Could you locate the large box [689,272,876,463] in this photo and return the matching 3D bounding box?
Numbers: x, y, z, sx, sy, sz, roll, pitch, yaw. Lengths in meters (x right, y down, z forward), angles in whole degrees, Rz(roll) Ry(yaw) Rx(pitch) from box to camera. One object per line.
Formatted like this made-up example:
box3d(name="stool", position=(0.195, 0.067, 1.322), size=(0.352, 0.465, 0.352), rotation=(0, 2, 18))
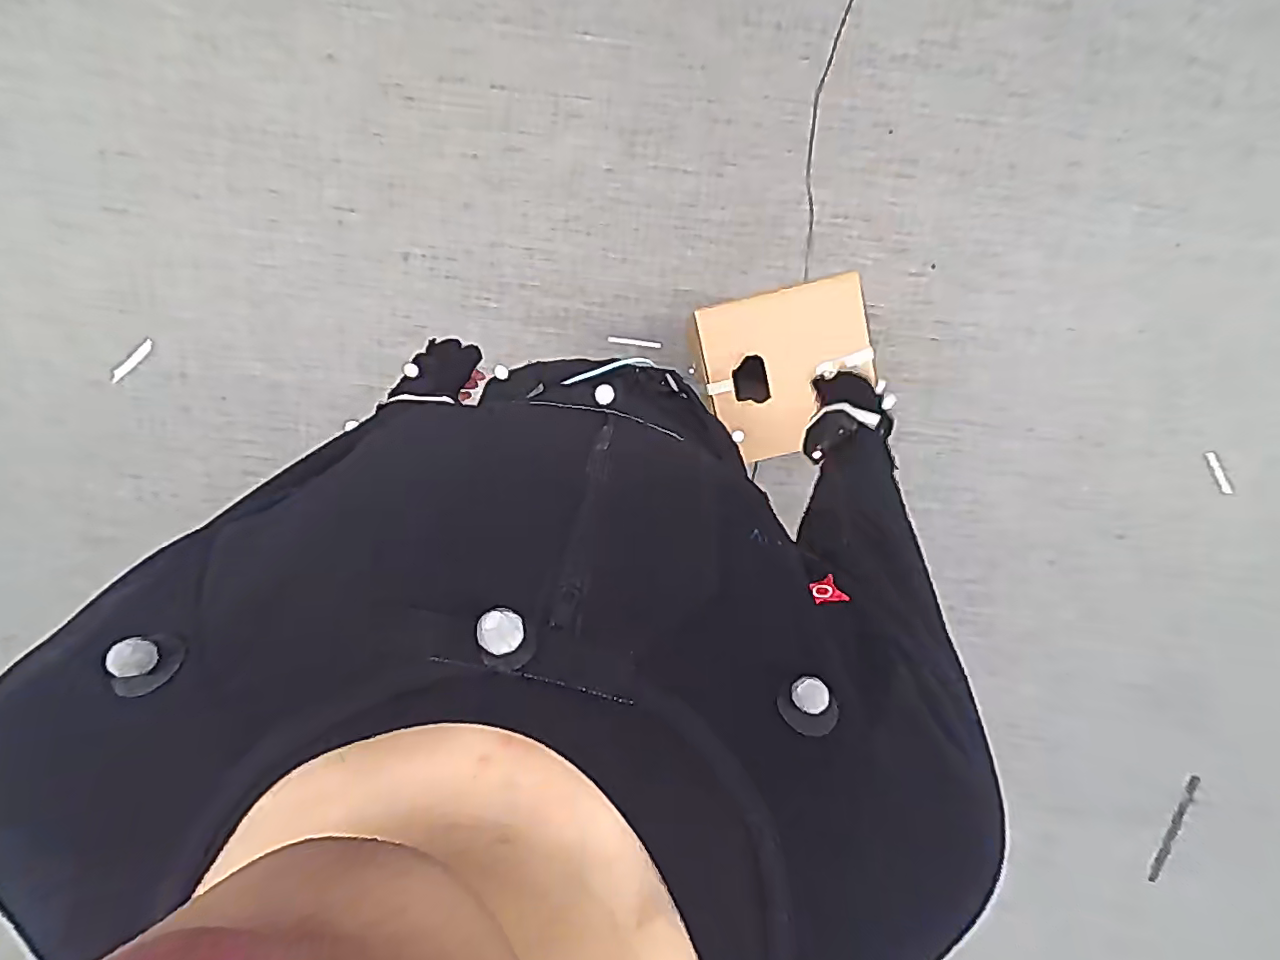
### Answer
box3d(name="large box", position=(0.297, -0.246, 1.235), size=(0.320, 0.408, 0.320), rotation=(-12, 100, 6))
